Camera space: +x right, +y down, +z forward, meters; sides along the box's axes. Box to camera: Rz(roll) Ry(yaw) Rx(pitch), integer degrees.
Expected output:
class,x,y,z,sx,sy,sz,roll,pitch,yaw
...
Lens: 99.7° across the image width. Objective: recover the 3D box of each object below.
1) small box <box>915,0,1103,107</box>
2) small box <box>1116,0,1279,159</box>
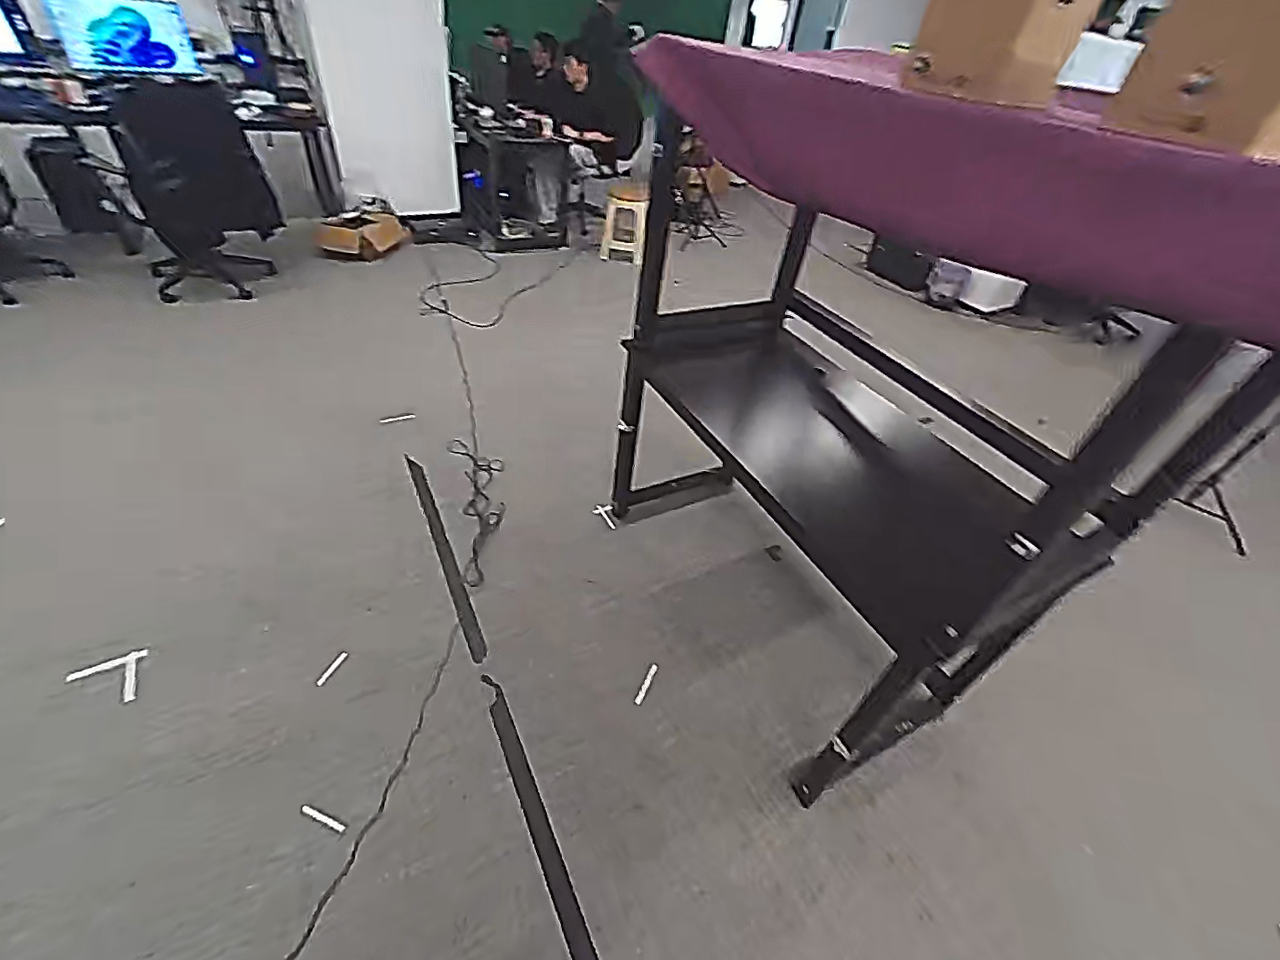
class,x,y,z,sx,sy,sz,roll,pitch,yaw
small box,0.544,-0.668,0.802,0.179,0.176,0.168,-18,48,-29
small box,0.684,-0.459,0.585,0.179,0.176,0.168,-12,44,-23
